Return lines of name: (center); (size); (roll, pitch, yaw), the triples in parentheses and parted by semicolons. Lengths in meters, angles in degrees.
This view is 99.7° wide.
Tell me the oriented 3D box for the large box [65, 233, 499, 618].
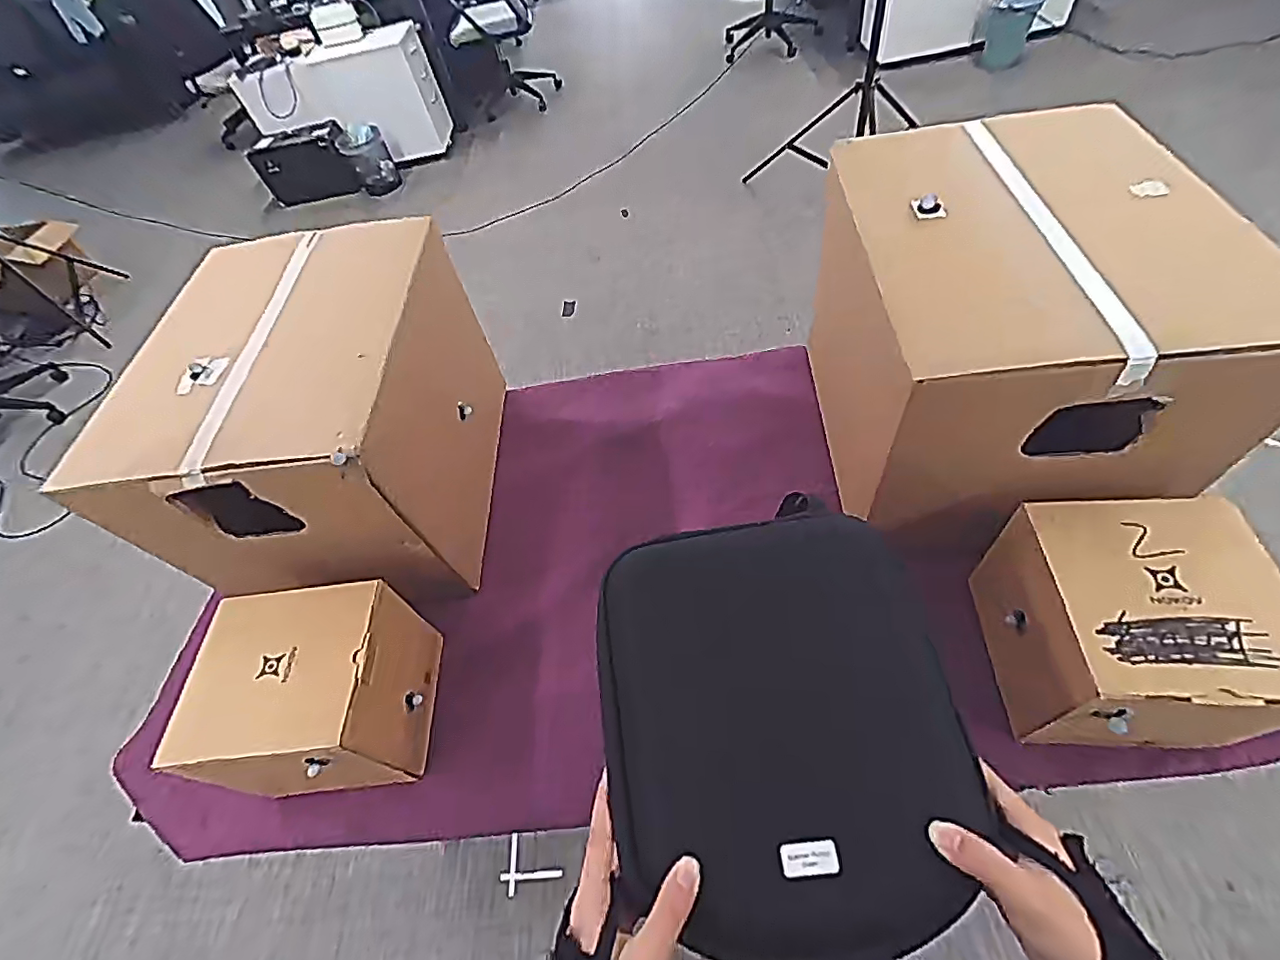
large box: (-0.399, -0.067, 0.740); (0.320, 0.320, 0.408); (-8, 56, 4)
